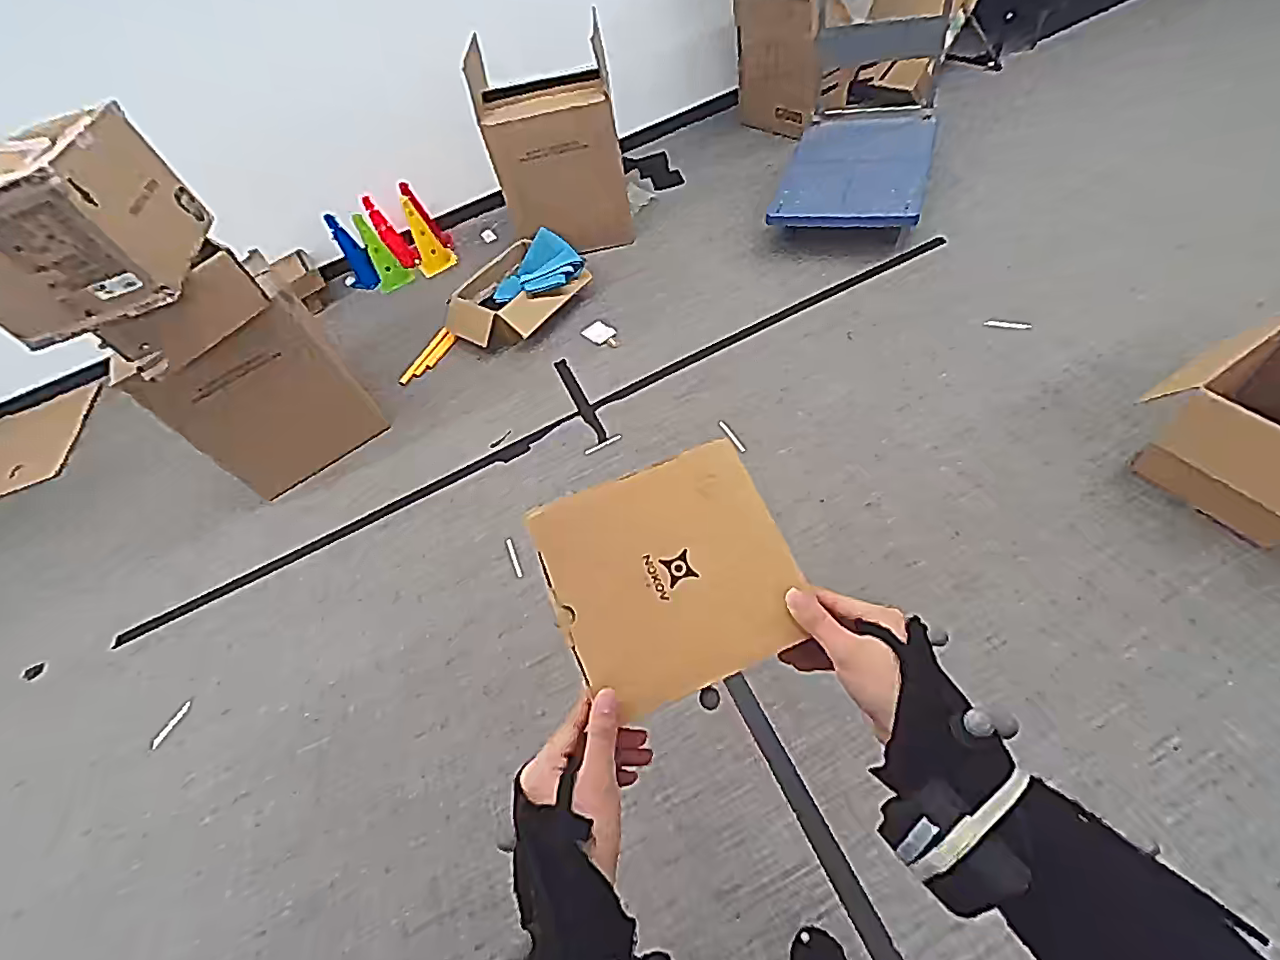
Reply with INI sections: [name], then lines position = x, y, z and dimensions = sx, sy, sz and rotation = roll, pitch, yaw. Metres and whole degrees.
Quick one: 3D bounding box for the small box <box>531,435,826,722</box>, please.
[small box]
position = 0.023, 0.091, 0.472
dimensions = 0.179, 0.176, 0.168
rotation = -22, 70, -9
